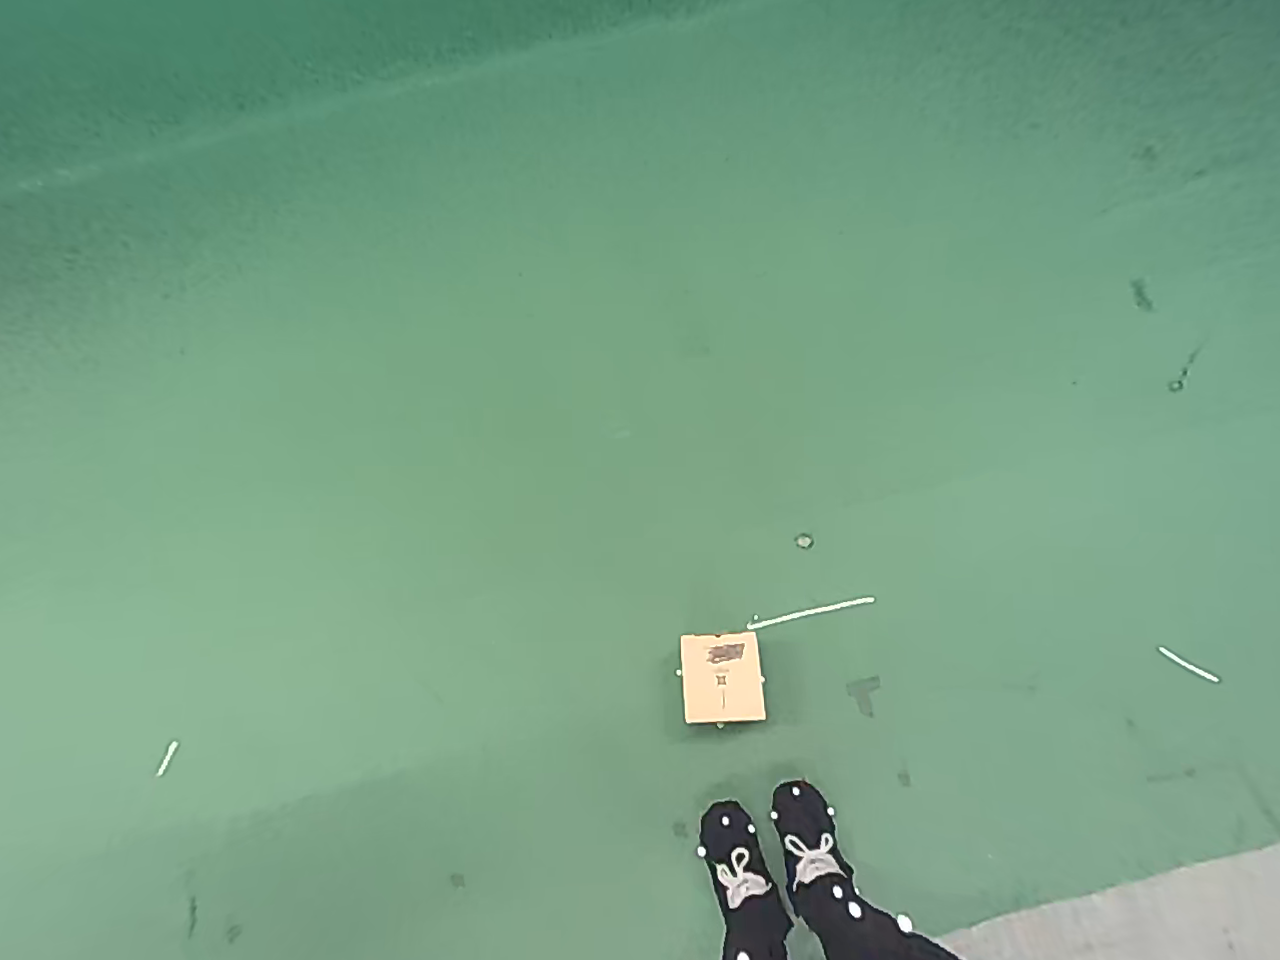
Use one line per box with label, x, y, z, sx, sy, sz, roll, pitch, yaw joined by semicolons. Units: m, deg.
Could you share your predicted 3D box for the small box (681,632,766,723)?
small box;0.177;0.440;1.198;0.168;0.176;0.179;-4;68;4
